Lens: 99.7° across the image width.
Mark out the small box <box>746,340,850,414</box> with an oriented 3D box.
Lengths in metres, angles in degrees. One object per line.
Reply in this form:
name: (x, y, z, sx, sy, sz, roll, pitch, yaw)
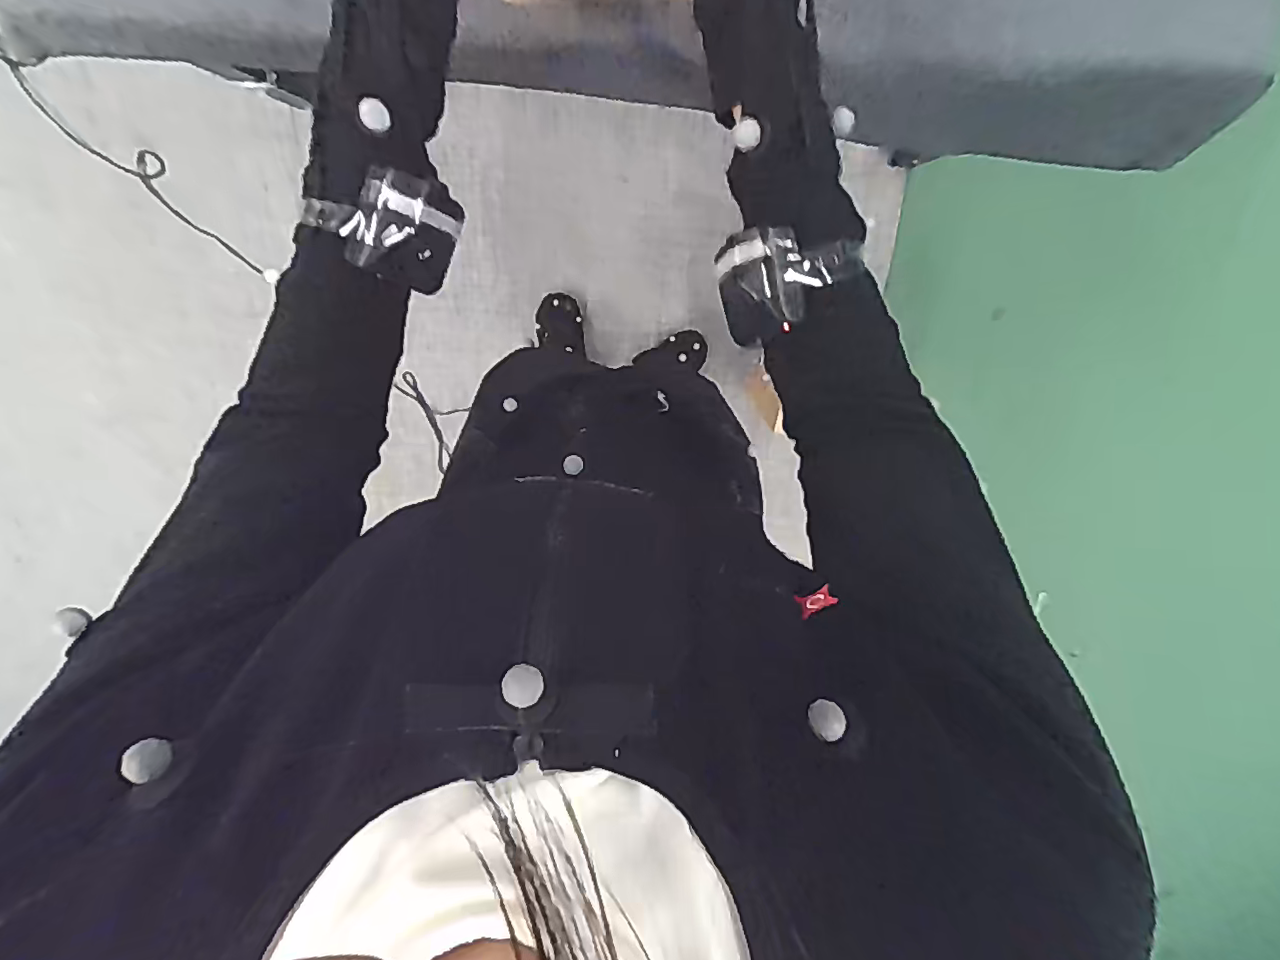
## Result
small box: (0.367, -0.231, 1.291, 0.179, 0.176, 0.168, 11, 111, -3)
